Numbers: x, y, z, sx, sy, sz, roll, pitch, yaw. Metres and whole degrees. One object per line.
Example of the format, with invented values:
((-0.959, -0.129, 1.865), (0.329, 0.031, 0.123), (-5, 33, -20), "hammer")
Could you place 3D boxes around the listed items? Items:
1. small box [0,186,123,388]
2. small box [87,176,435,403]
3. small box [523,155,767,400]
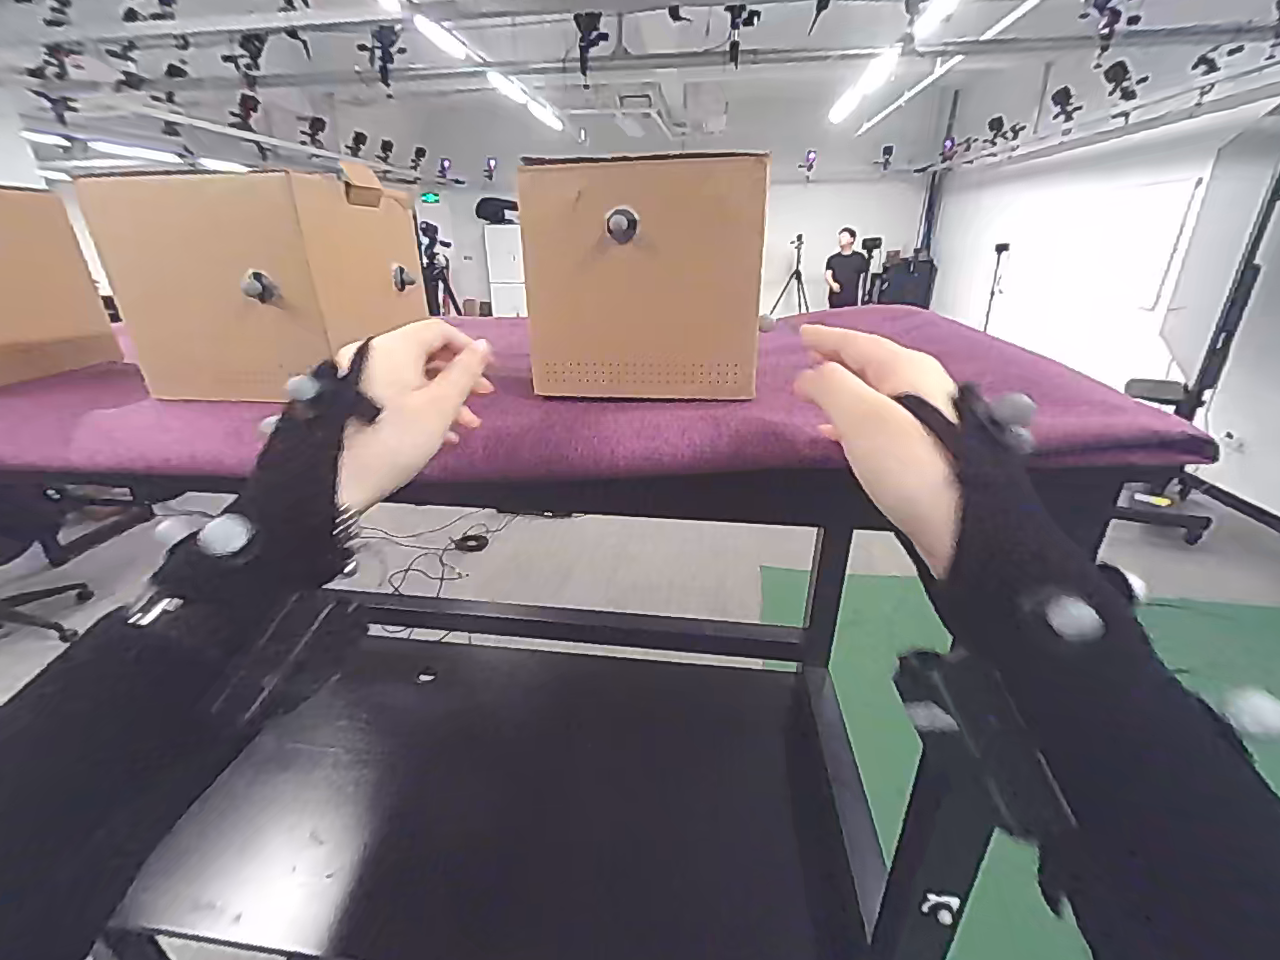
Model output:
((-0.652, -0.176, 0.499), (0.168, 0.176, 0.179), (3, 24, 4), "small box")
((-0.309, -0.169, 0.489), (0.179, 0.176, 0.168), (1, 23, 6), "small box")
((0.014, -0.168, 0.473), (0.179, 0.176, 0.168), (3, 21, 9), "small box")
